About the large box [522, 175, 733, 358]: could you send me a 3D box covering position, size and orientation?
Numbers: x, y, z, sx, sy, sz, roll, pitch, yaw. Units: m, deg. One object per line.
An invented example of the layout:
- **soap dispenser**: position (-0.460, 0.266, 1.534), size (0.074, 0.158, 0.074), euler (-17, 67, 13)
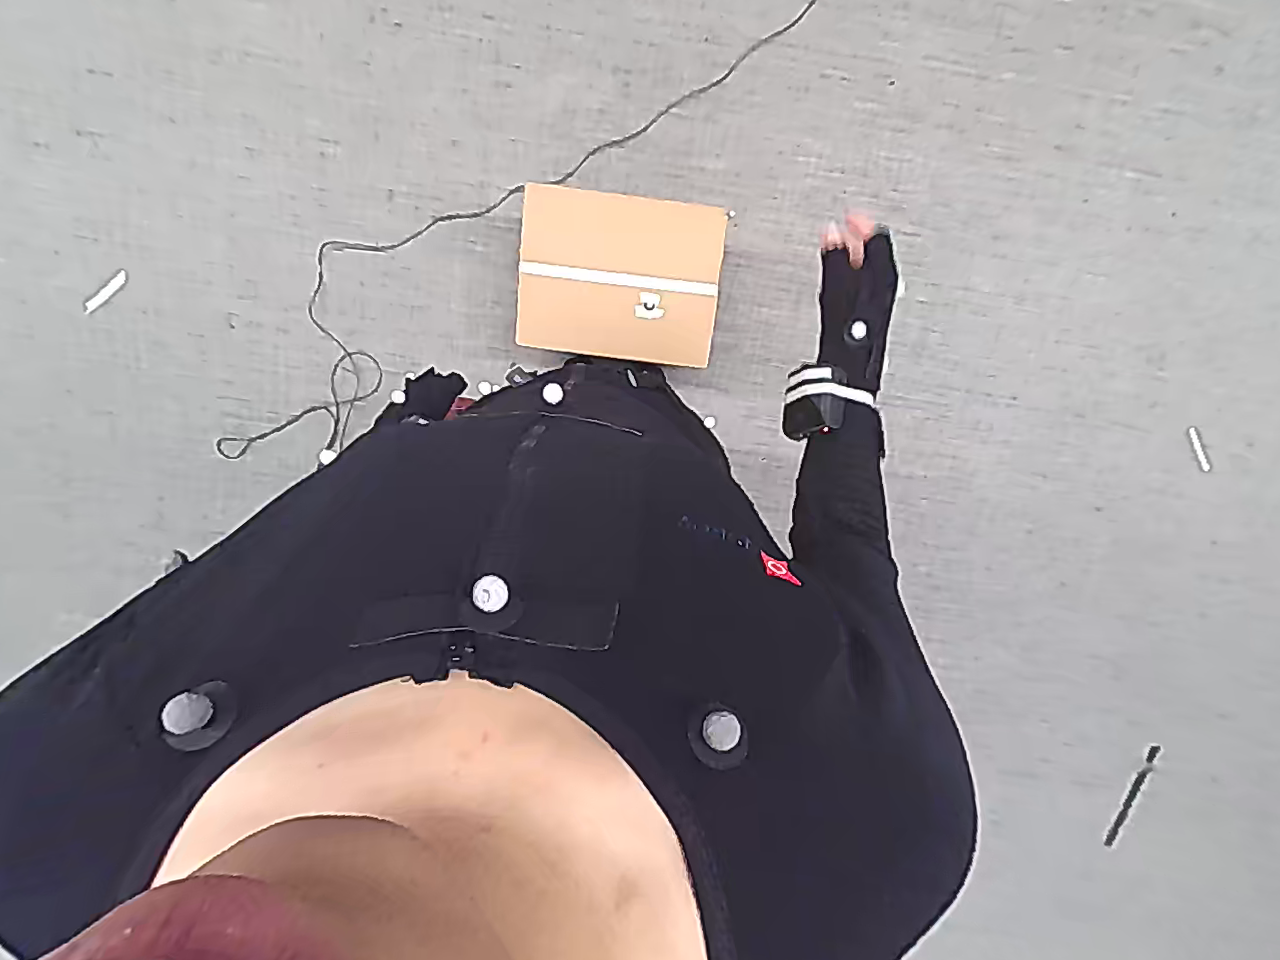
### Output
- **large box**: position (-0.034, -0.453, 1.220), size (0.408, 0.320, 0.320), euler (6, 104, -2)
